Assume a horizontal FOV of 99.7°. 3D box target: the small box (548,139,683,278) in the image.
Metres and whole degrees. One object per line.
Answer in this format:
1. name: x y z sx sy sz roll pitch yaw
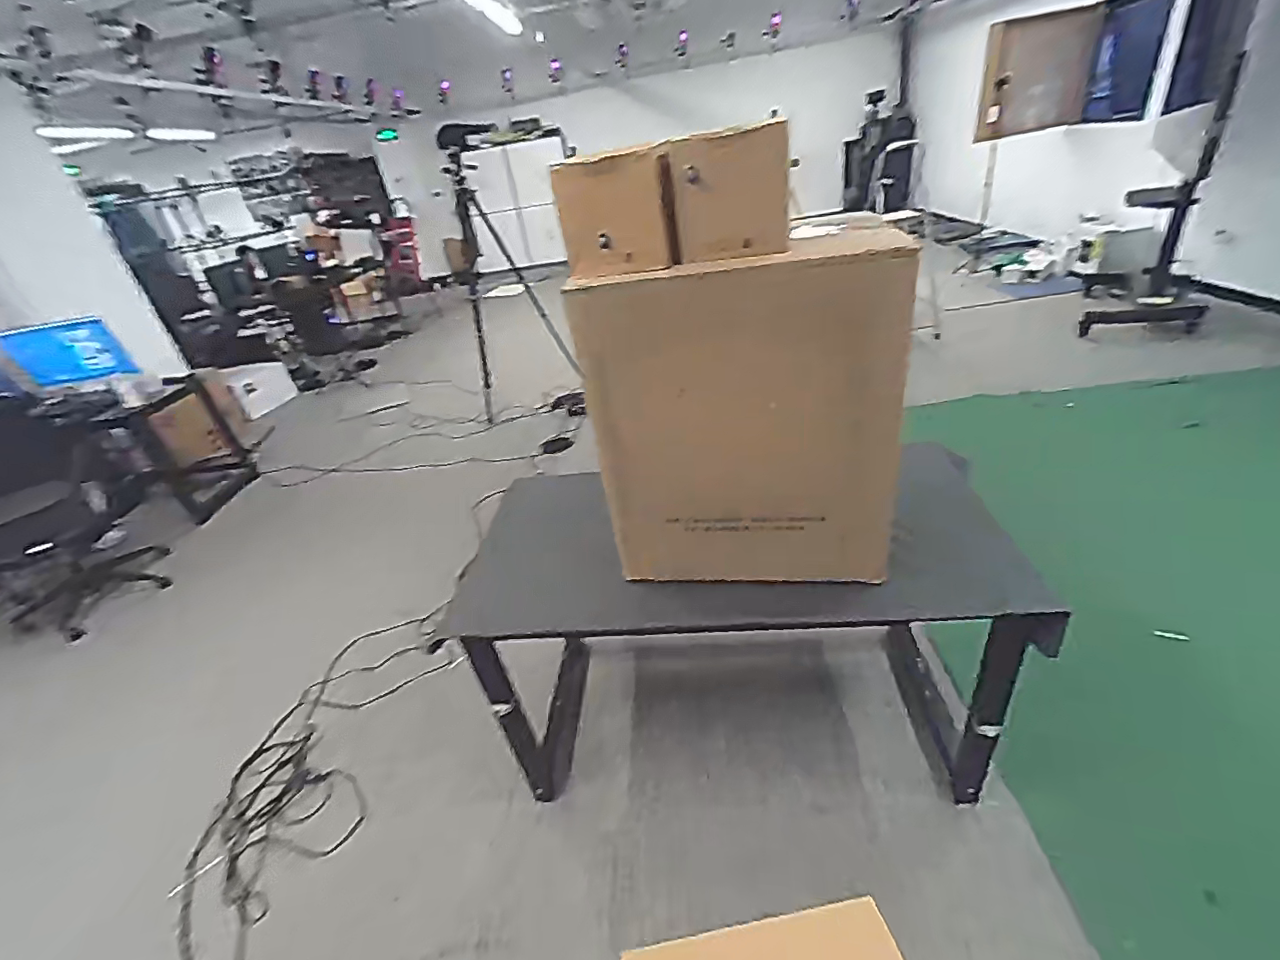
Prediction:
1. small box: -0.027 -0.438 0.876 0.168 0.176 0.179 0 36 16
